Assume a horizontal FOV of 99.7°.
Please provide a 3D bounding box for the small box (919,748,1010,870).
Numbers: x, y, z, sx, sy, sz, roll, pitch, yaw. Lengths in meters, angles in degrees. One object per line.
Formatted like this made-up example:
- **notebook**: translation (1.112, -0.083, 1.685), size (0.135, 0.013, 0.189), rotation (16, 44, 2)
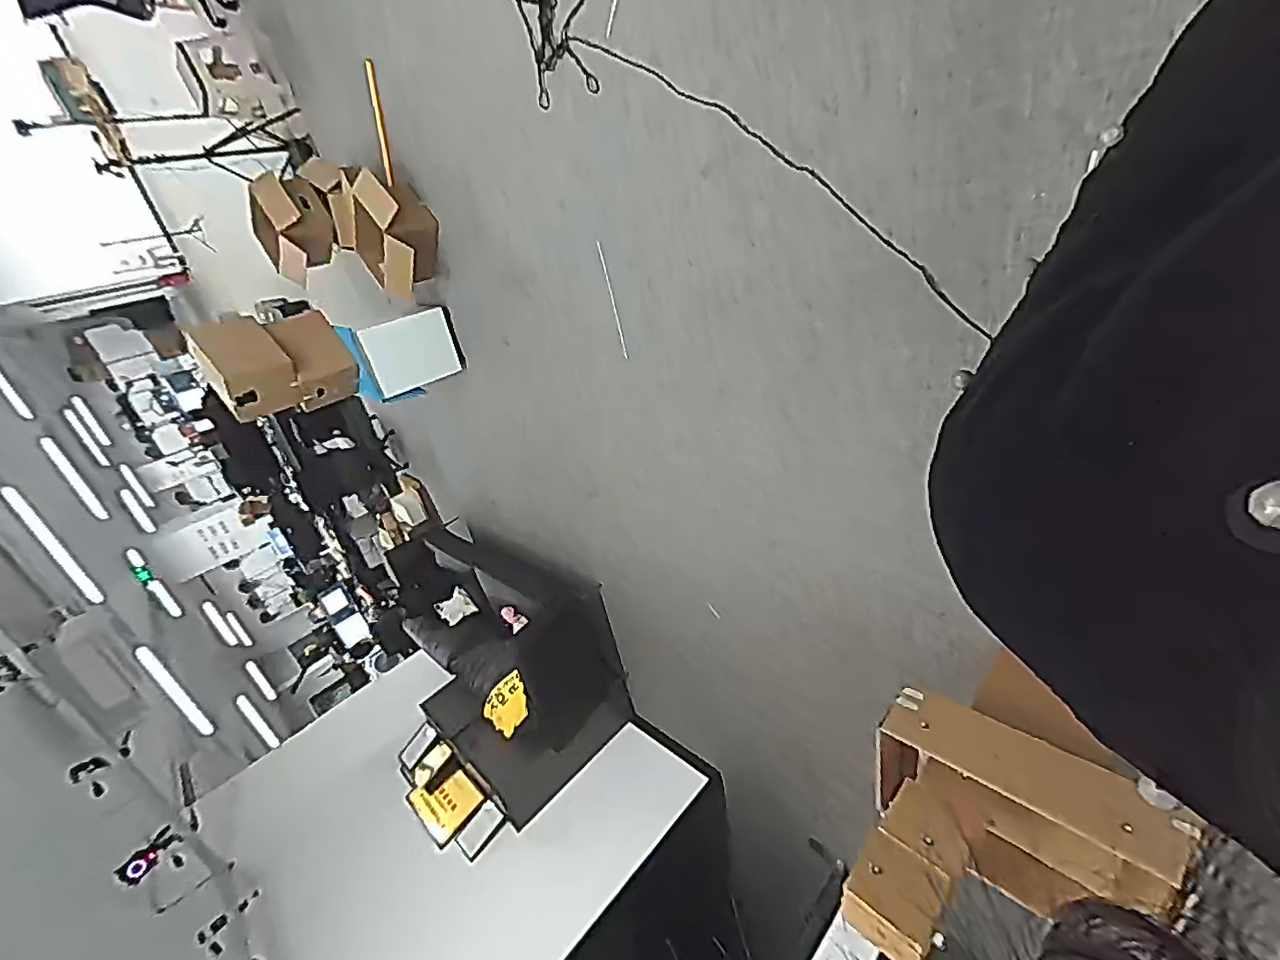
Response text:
- **small box**: translation (0.831, 0.843, 1.401), size (0.168, 0.176, 0.179), rotation (22, 132, 42)

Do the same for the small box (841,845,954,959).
- **small box**: translation (0.585, 0.982, 1.235), size (0.179, 0.176, 0.168), rotation (20, 131, 43)

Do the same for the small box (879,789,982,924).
- **small box**: translation (0.704, 0.906, 1.318), size (0.179, 0.176, 0.168), rotation (21, 130, 43)
